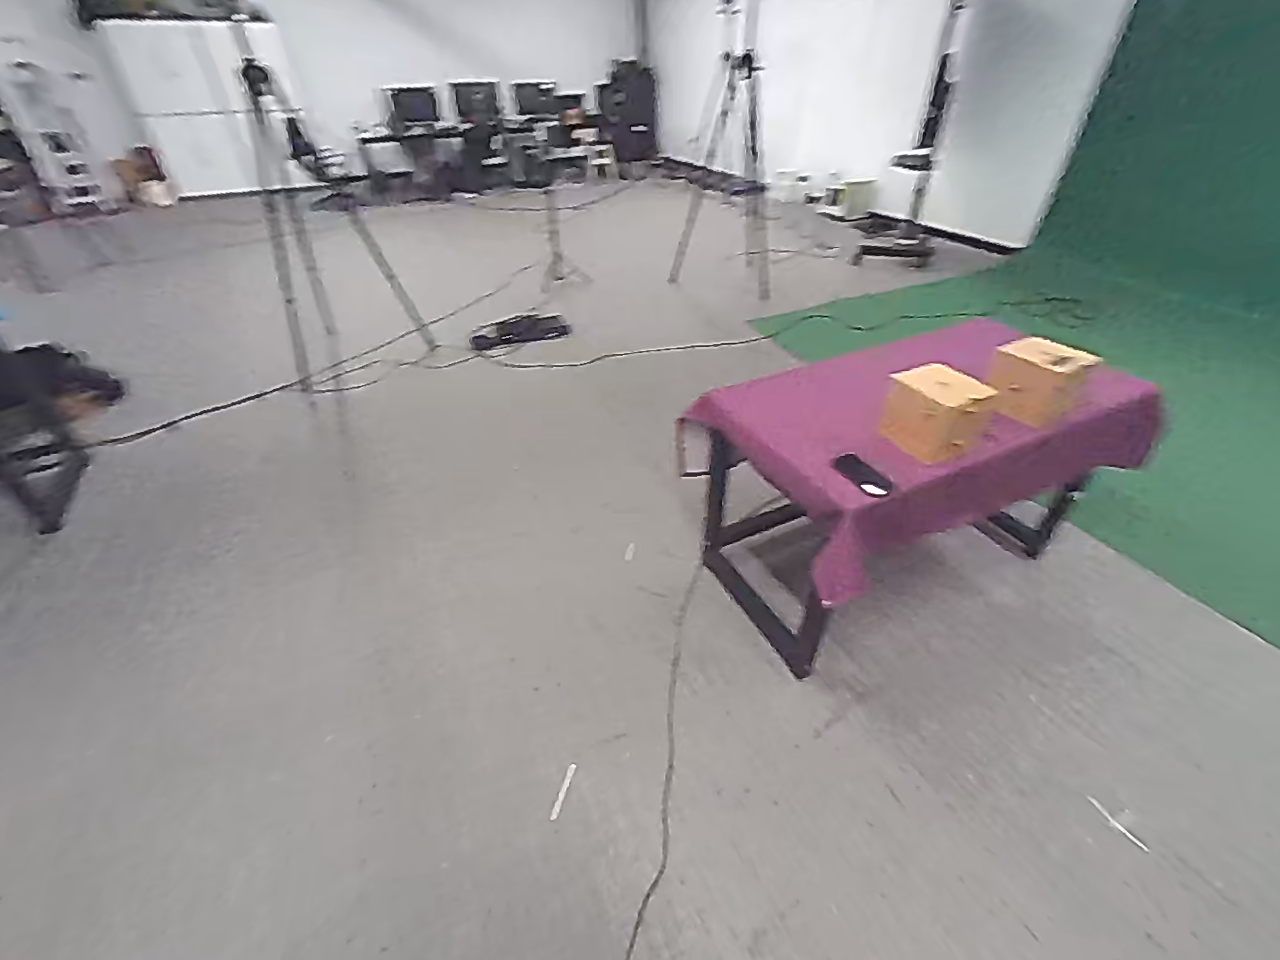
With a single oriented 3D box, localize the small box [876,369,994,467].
[{"bbox_3d":[0.732,-0.157,1.364,0.168,0.176,0.179,-17,42,-20],"label":"small box"}]
